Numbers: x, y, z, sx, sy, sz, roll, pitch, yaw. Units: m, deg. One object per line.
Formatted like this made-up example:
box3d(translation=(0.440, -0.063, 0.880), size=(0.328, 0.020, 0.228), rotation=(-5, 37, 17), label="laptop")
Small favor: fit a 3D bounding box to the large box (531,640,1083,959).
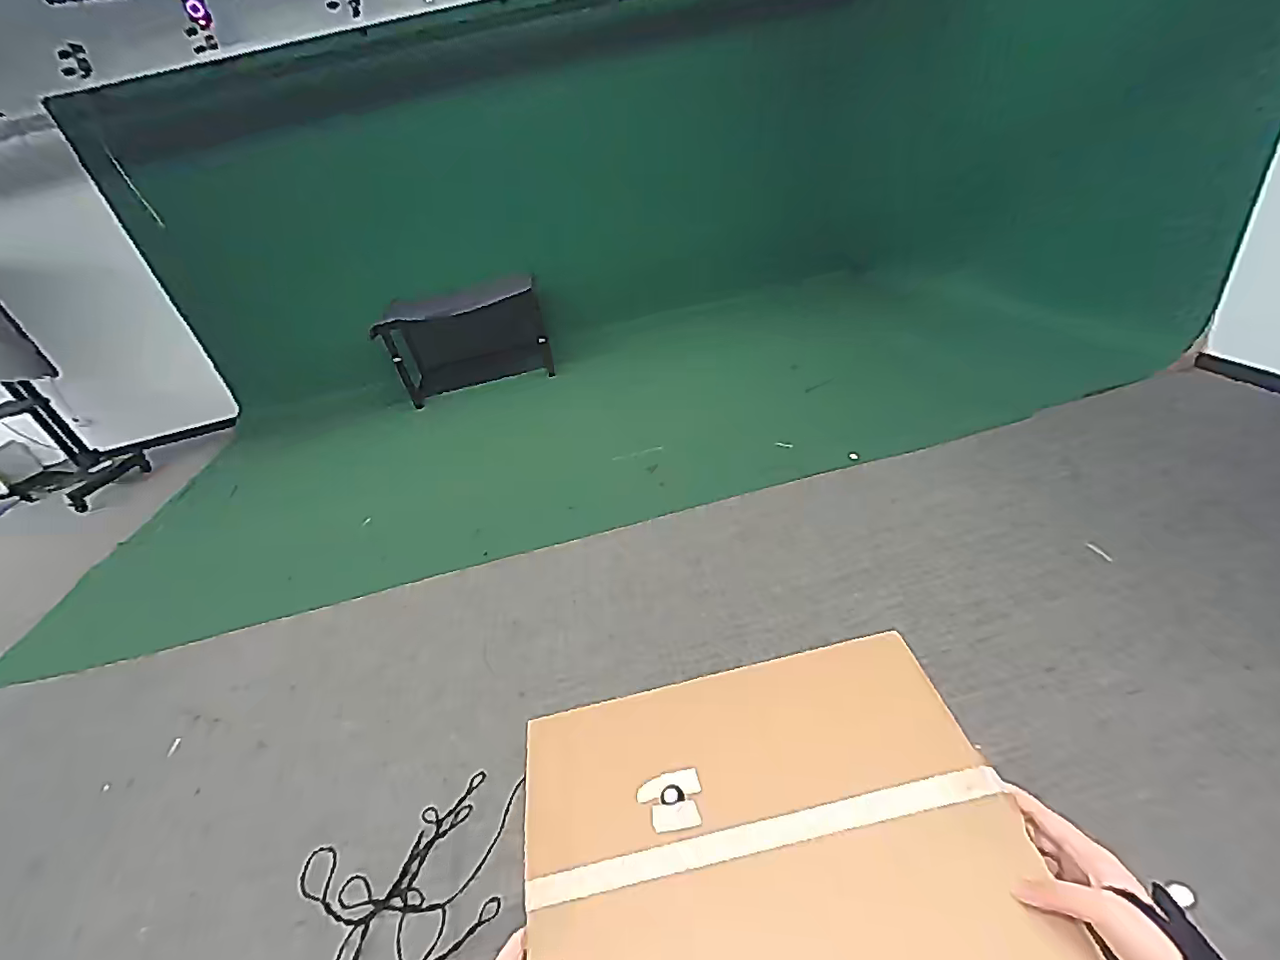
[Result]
box3d(translation=(0.132, 0.425, 0.558), size=(0.408, 0.320, 0.320), rotation=(-15, 39, 1), label="large box")
